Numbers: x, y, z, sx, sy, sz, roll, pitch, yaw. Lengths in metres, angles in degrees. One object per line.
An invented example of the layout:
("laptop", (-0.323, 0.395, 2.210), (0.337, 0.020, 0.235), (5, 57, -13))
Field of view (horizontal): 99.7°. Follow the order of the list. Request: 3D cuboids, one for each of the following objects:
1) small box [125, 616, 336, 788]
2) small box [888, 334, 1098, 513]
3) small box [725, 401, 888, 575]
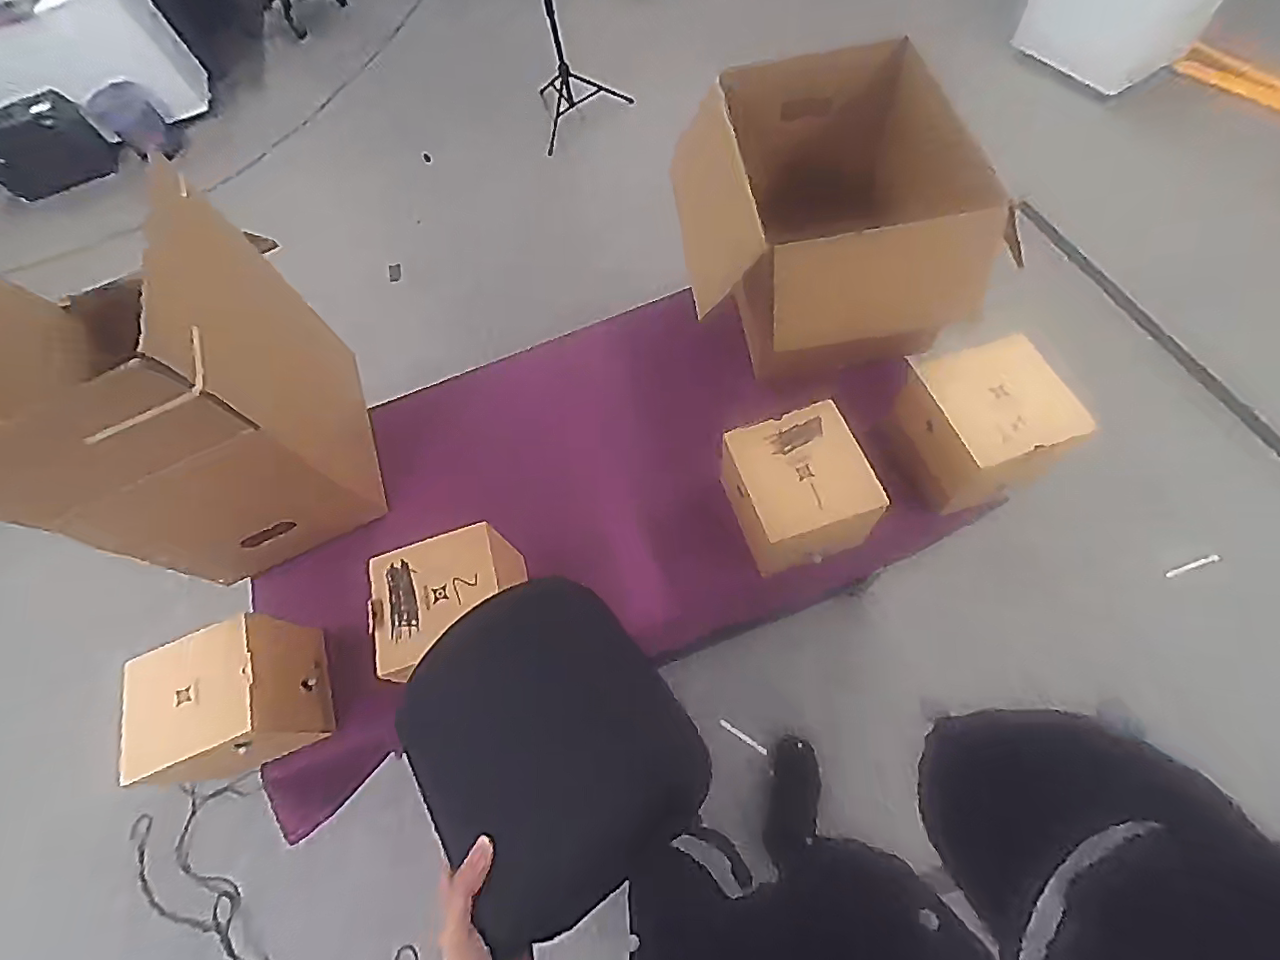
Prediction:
("small box", (-0.581, 0.323, 0.785), (0.179, 0.176, 0.168), (-24, 63, -4))
("small box", (0.497, -0.077, 0.799), (0.168, 0.176, 0.179), (-19, 63, 1))
("small box", (0.228, 0.018, 0.799), (0.168, 0.176, 0.179), (-19, 64, 0))
